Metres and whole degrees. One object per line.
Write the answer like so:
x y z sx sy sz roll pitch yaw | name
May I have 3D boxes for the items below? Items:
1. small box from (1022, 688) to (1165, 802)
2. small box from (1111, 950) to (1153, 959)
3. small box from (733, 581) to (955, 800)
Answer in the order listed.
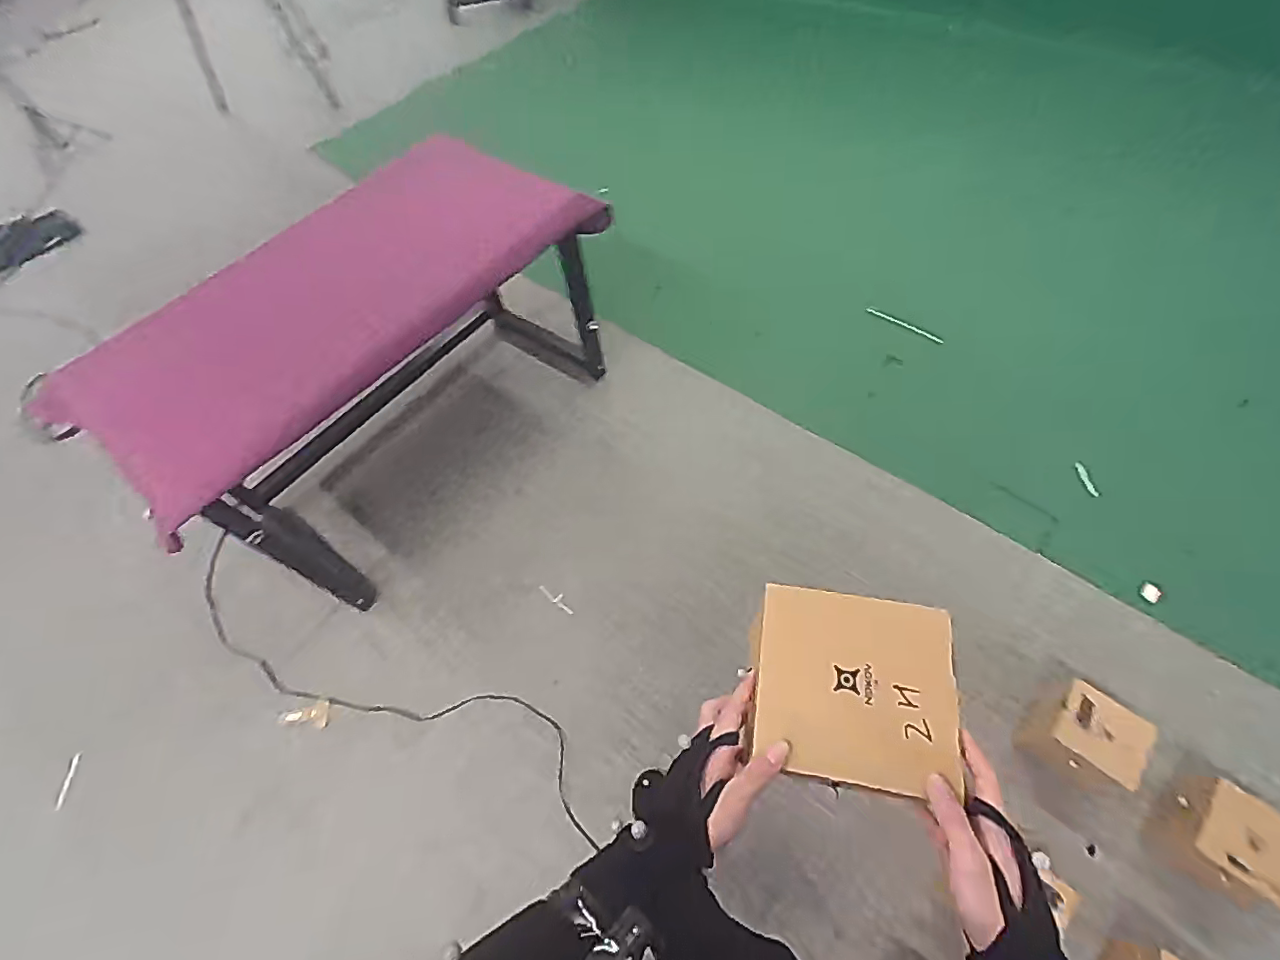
1.049 0.626 1.268 0.179 0.176 0.168 36 68 23 | small box
1.004 1.047 1.015 0.168 0.176 0.179 35 67 22 | small box
0.193 0.219 0.557 0.179 0.176 0.168 7 62 9 | small box
